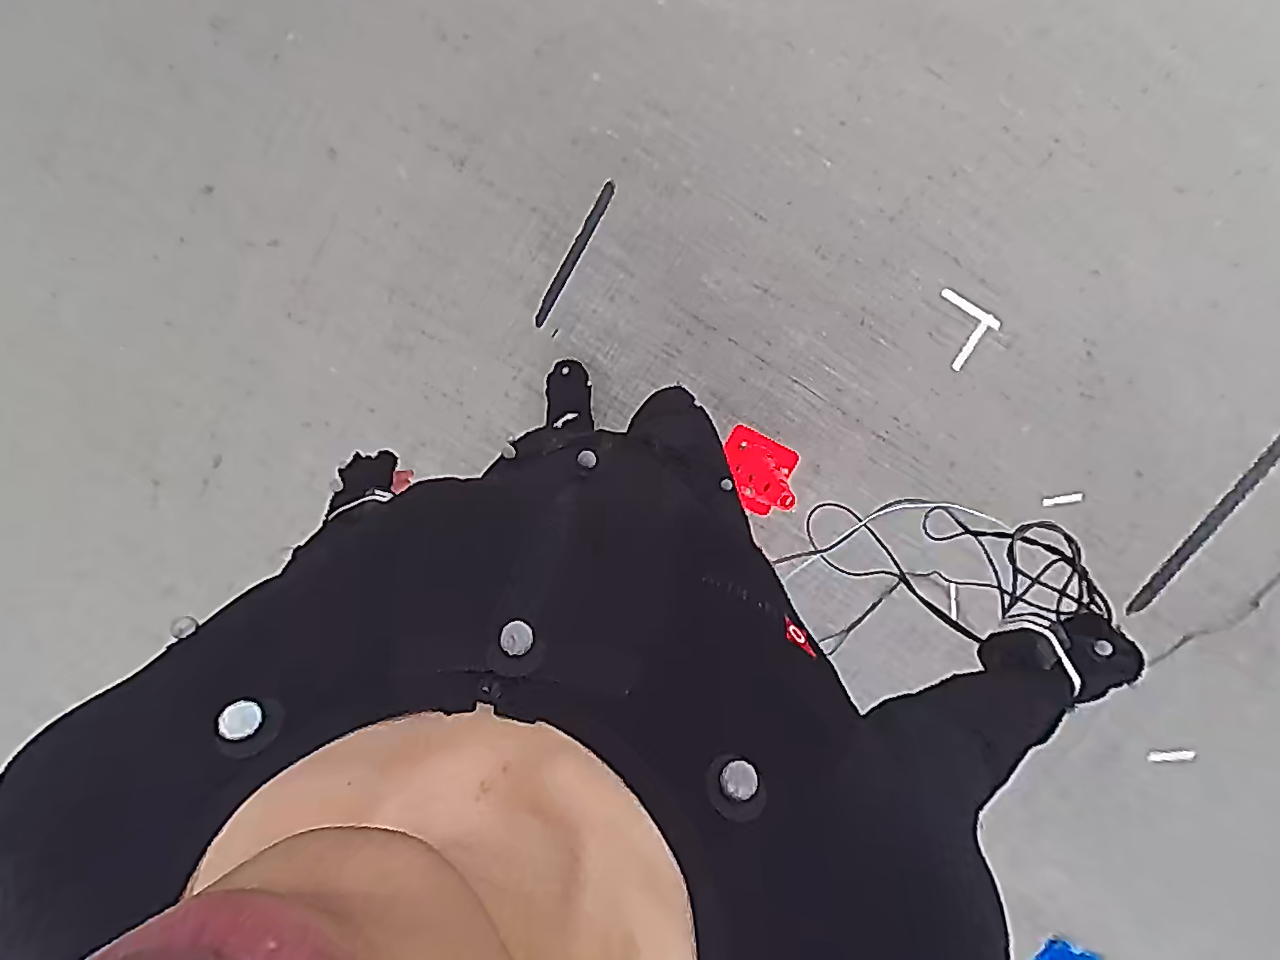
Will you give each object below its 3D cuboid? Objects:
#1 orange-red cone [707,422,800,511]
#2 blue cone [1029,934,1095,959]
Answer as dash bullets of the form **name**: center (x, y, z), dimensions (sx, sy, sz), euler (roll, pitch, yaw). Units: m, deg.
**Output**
- **orange-red cone**: center (0.299, 0.002, 1.276), dimensions (0.198, 0.360, 0.199), euler (27, 101, -5)
- **blue cone**: center (1.369, 1.609, 1.600), dimensions (0.192, 0.380, 0.193), euler (27, 100, -5)
